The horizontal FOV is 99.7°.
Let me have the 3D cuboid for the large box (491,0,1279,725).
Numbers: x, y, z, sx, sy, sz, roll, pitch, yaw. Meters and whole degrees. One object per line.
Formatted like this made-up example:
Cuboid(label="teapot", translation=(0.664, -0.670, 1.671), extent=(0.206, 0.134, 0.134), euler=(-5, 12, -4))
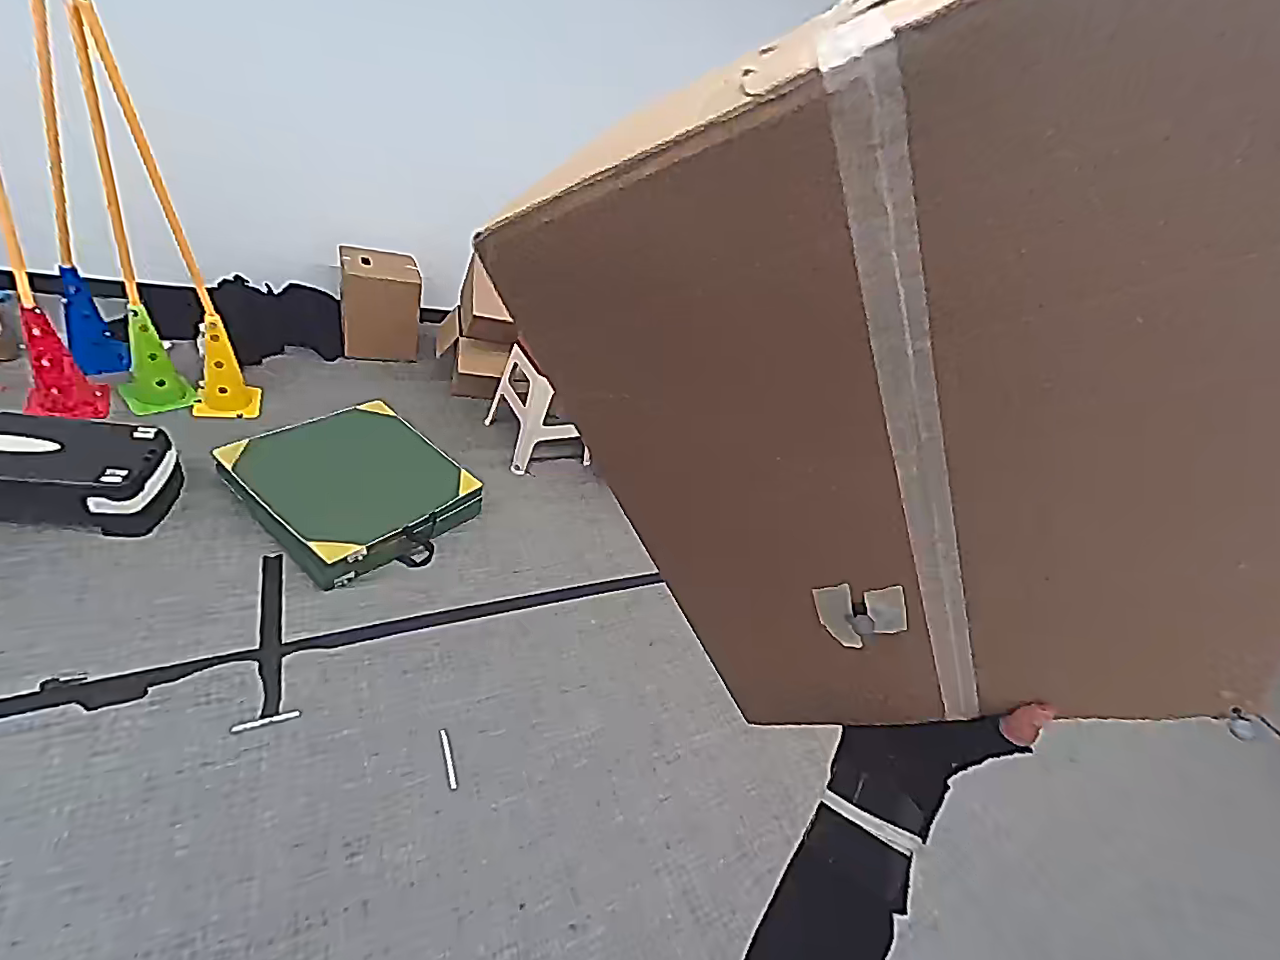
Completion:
Cuboid(label="large box", translation=(0.173, -0.070, 0.398), extent=(0.320, 0.408, 0.320), euler=(-12, 37, 24))
